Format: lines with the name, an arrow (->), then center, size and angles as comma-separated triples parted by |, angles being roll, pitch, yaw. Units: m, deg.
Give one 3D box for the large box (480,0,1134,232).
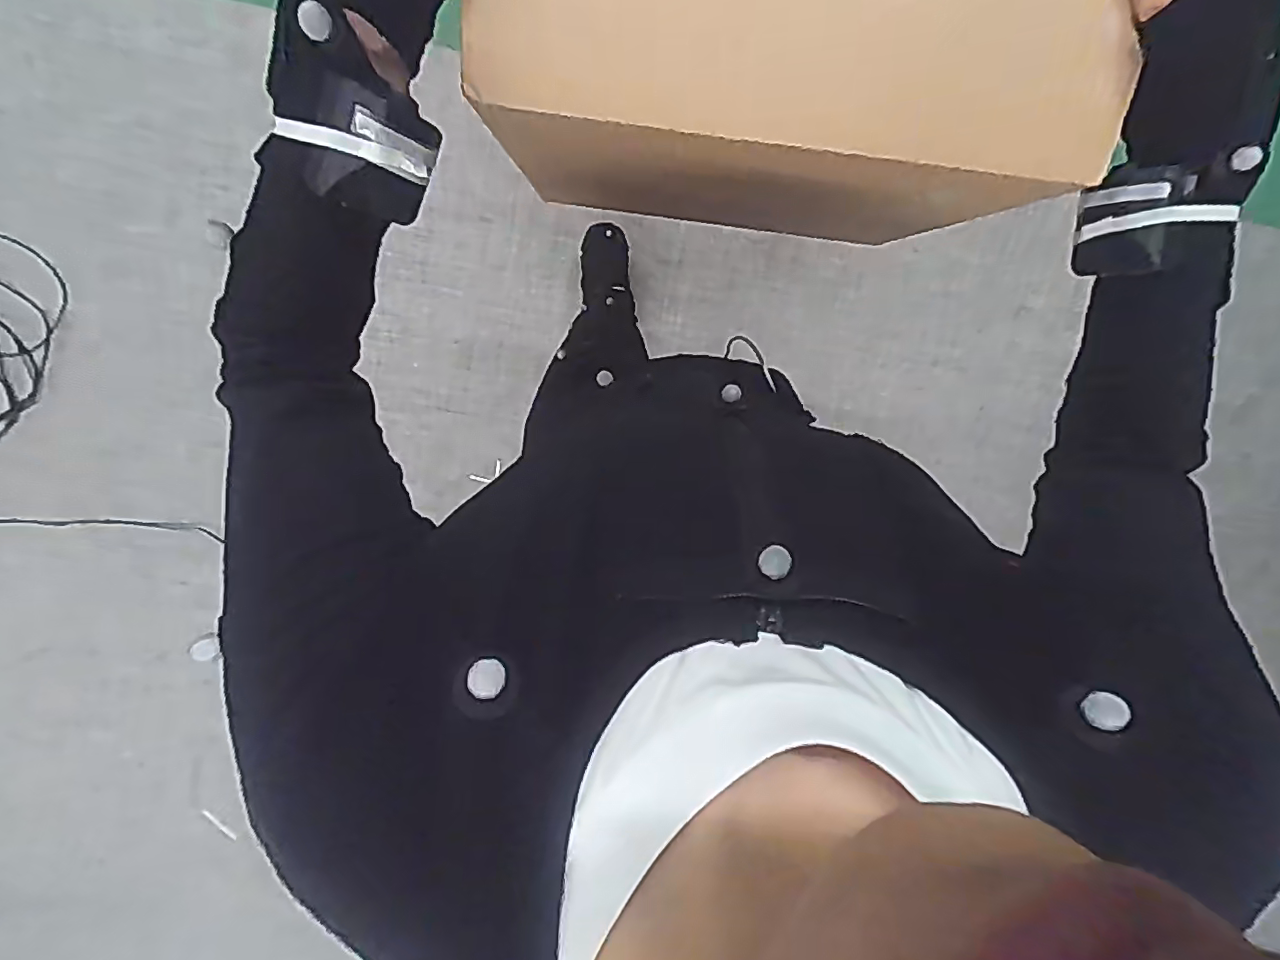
large box -> 0.105, -0.409, 0.446 | 0.408, 0.320, 0.320 | 5, 108, -3
